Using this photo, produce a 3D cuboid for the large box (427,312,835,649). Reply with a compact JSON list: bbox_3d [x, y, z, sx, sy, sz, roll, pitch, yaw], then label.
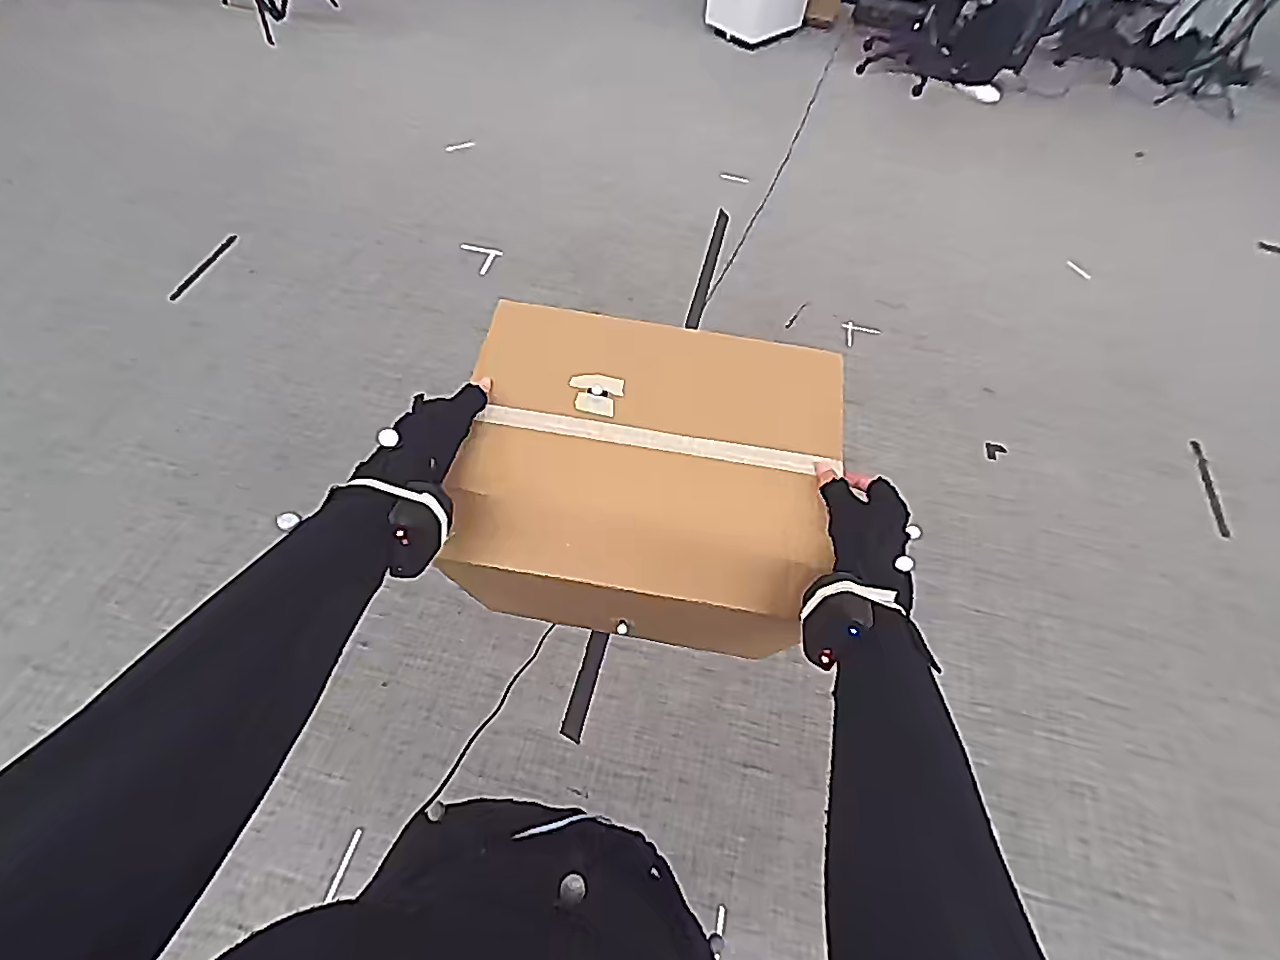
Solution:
[{"bbox_3d":[0.008,0.023,0.715,0.408,0.320,0.320,9,65,3],"label":"large box"}]
